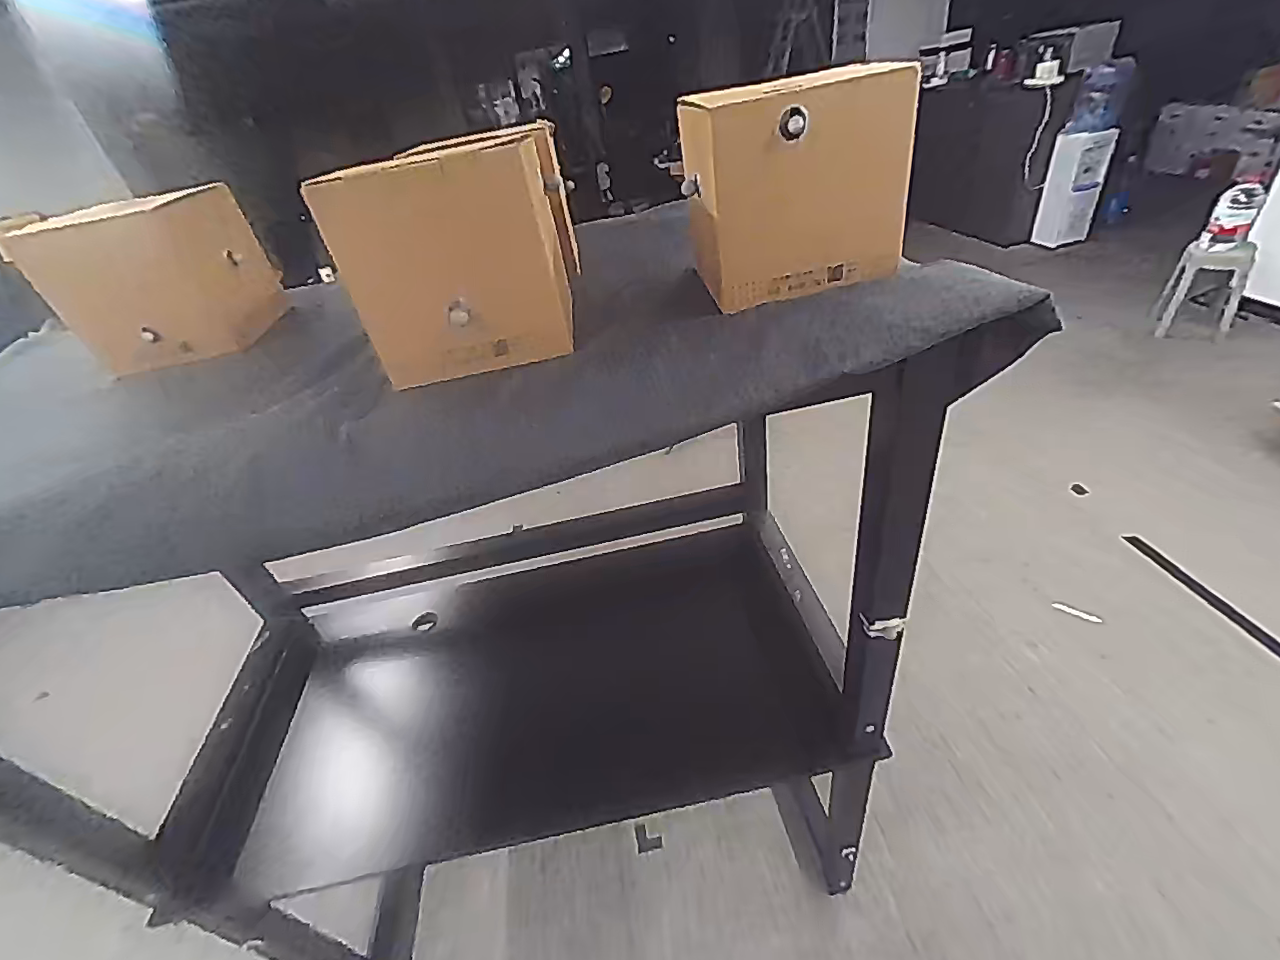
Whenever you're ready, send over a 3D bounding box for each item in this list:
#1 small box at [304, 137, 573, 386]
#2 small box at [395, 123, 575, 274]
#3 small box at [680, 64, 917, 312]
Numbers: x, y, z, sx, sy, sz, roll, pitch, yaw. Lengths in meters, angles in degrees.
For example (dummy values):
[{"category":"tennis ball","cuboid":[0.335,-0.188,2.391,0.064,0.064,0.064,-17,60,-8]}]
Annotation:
[{"category":"small box","cuboid":[-0.163,-0.208,0.508,0.168,0.176,0.179,-12,35,1]},{"category":"small box","cuboid":[-0.185,-0.352,0.712,0.179,0.176,0.168,-11,36,0]},{"category":"small box","cuboid":[0.137,-0.279,0.524,0.168,0.176,0.179,-11,35,2]}]
